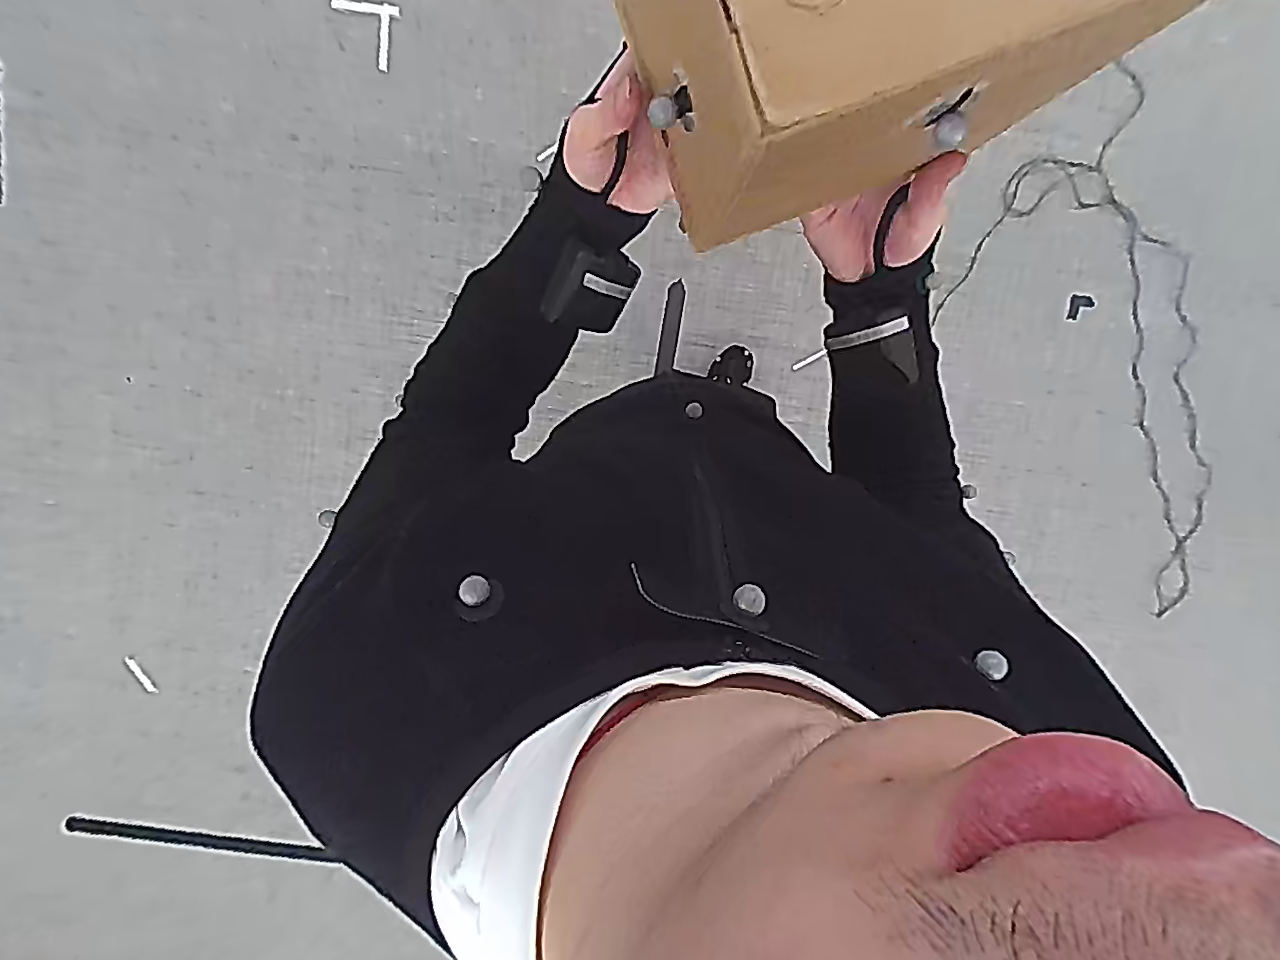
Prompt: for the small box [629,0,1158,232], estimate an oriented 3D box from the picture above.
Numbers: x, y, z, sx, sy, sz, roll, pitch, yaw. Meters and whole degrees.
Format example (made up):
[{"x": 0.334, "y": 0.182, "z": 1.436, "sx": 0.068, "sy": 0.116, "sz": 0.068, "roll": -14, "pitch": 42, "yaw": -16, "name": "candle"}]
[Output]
[{"x": 0.092, "y": -0.232, "z": 0.234, "sx": 0.179, "sy": 0.176, "sz": 0.168, "roll": -21, "pitch": 102, "yaw": 1, "name": "small box"}]
